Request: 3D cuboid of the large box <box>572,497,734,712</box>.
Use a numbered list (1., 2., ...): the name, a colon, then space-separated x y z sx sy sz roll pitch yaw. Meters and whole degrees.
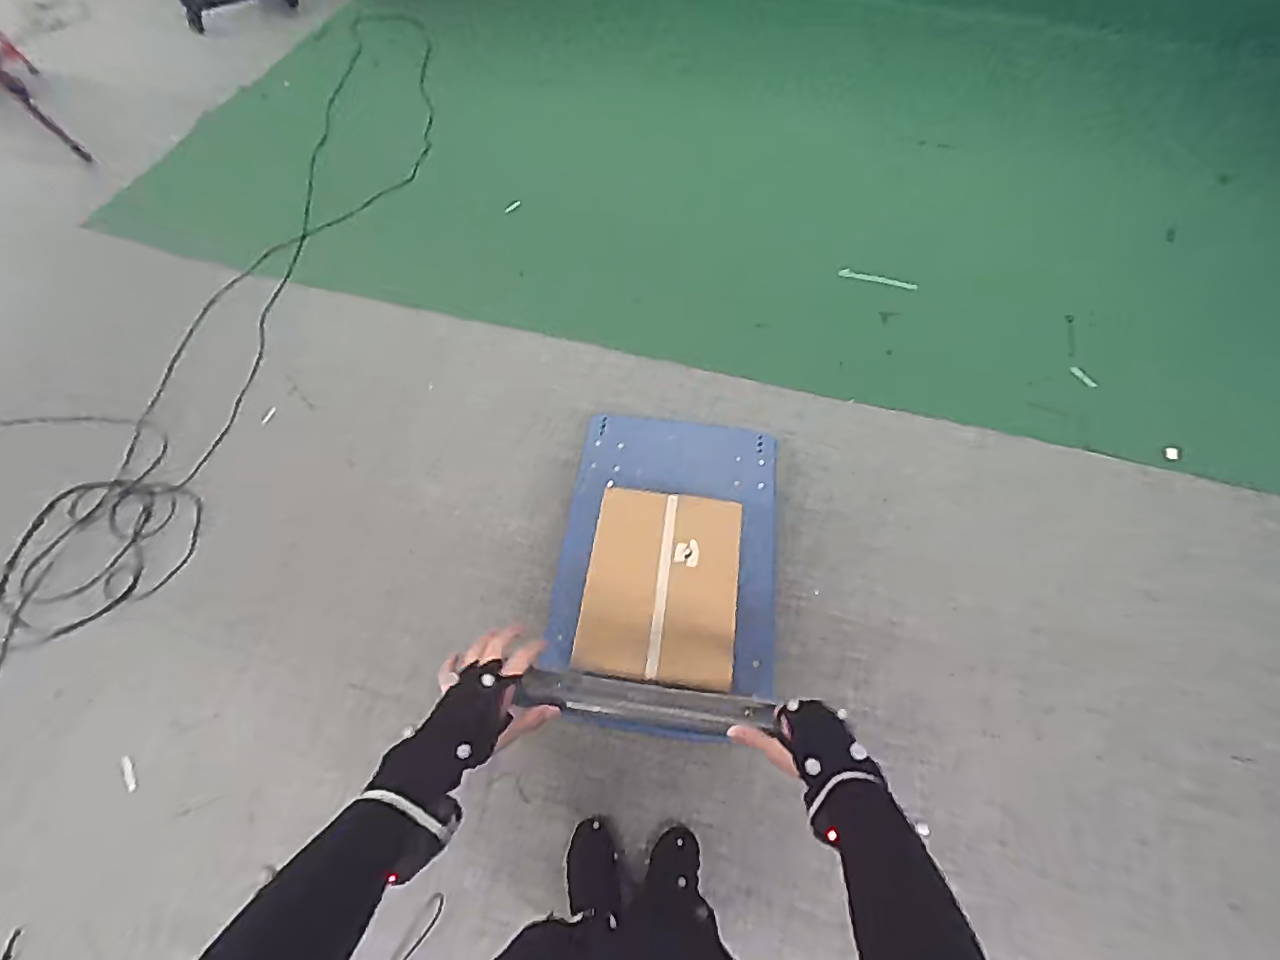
1. large box: 0.040 0.299 1.269 0.320 0.320 0.408 7 60 3
